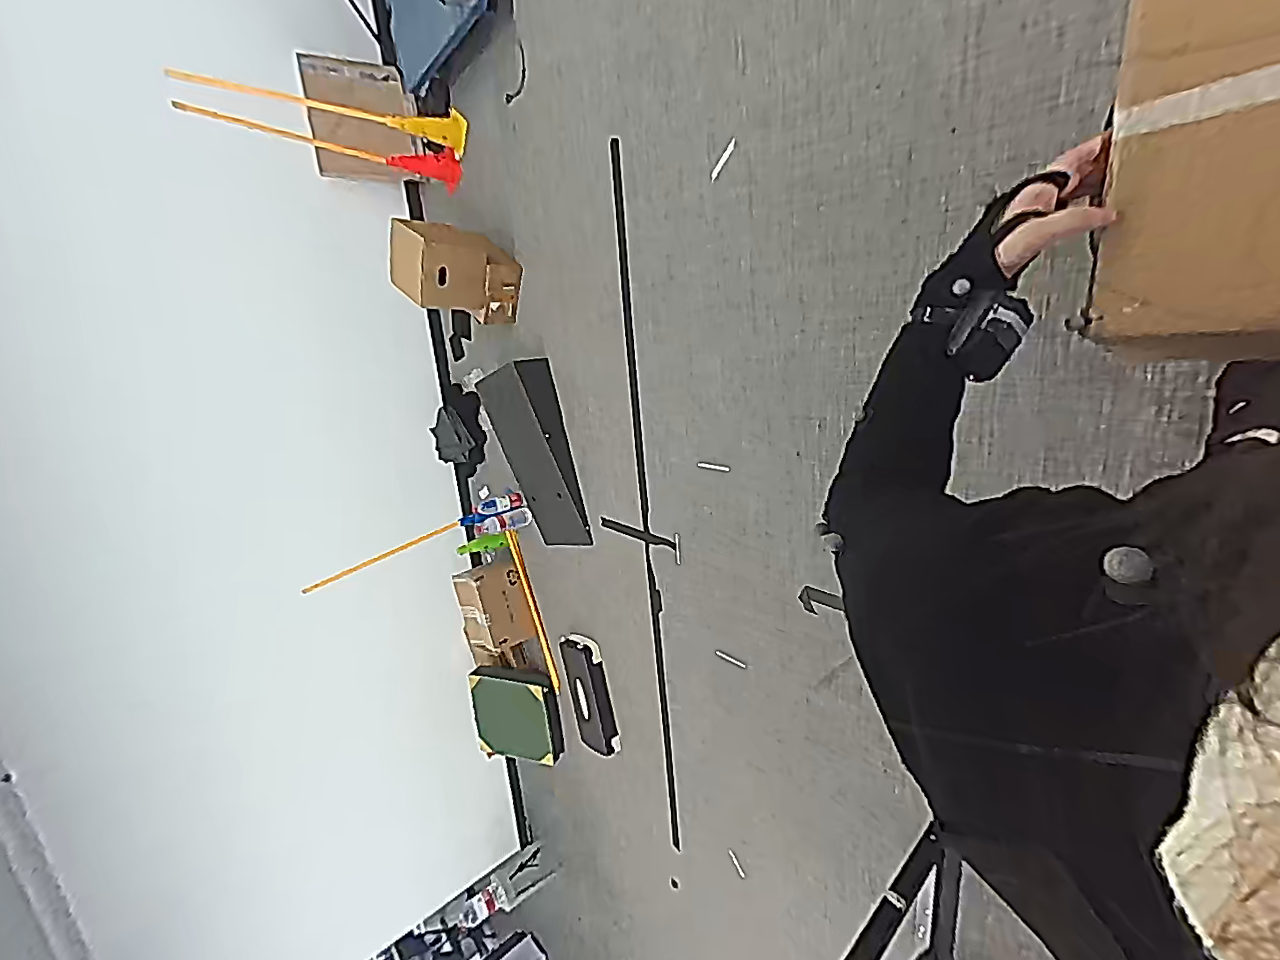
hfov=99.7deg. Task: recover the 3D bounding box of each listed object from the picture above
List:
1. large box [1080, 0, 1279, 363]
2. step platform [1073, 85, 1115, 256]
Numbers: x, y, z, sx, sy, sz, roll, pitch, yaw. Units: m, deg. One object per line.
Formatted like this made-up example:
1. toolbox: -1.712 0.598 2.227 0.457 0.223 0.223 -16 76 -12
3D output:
1. large box: 0.596 -0.245 0.362 0.408 0.320 0.320 11 103 46
2. step platform: 1.057 -0.483 0.766 0.684 0.204 0.286 21 119 46
